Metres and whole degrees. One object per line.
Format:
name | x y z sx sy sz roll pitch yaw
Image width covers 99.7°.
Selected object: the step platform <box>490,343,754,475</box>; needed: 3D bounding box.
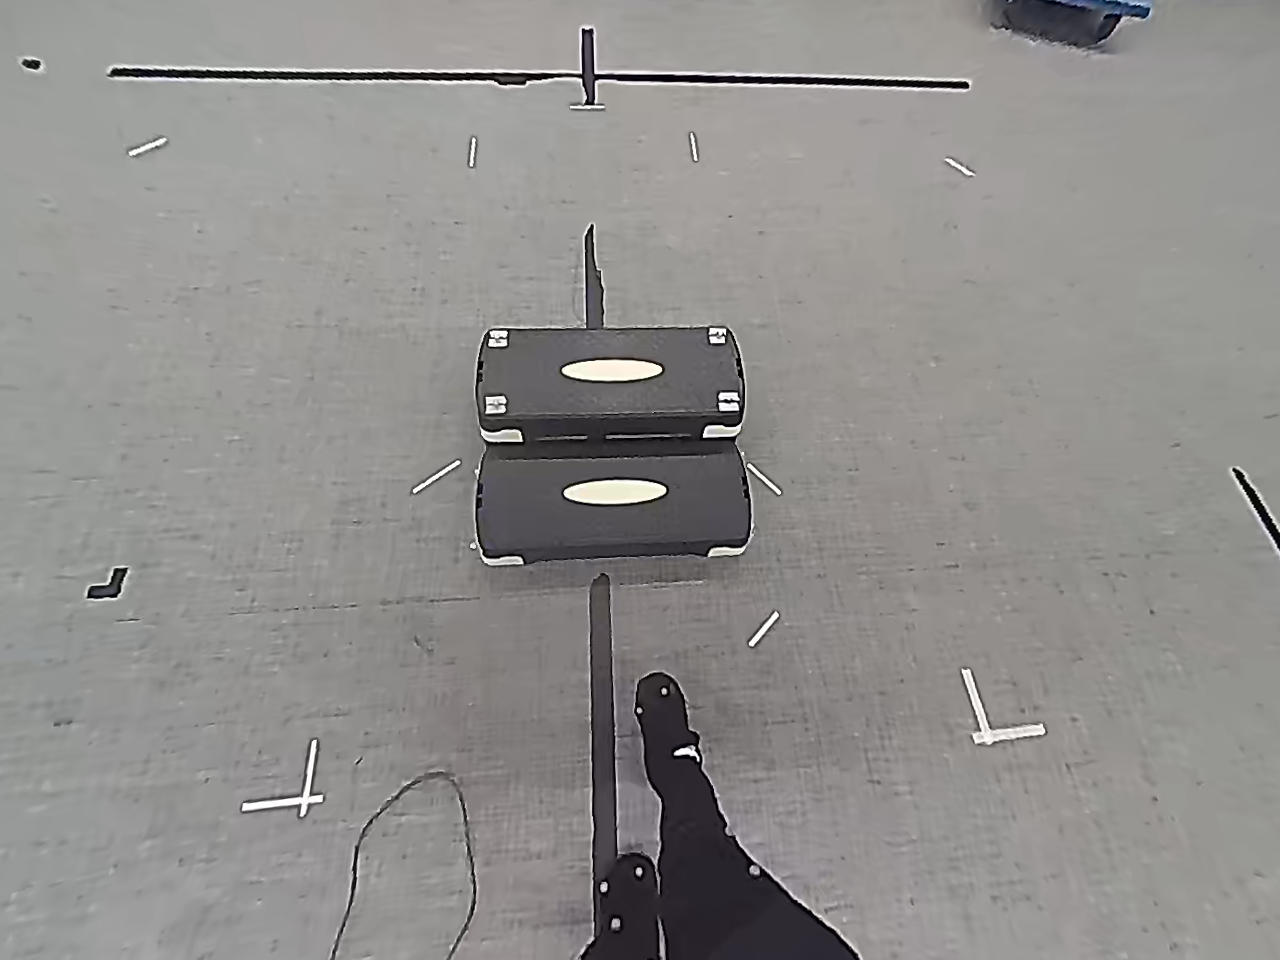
step platform | -0.044 -0.188 1.437 0.684 0.204 0.286 2 64 -3
